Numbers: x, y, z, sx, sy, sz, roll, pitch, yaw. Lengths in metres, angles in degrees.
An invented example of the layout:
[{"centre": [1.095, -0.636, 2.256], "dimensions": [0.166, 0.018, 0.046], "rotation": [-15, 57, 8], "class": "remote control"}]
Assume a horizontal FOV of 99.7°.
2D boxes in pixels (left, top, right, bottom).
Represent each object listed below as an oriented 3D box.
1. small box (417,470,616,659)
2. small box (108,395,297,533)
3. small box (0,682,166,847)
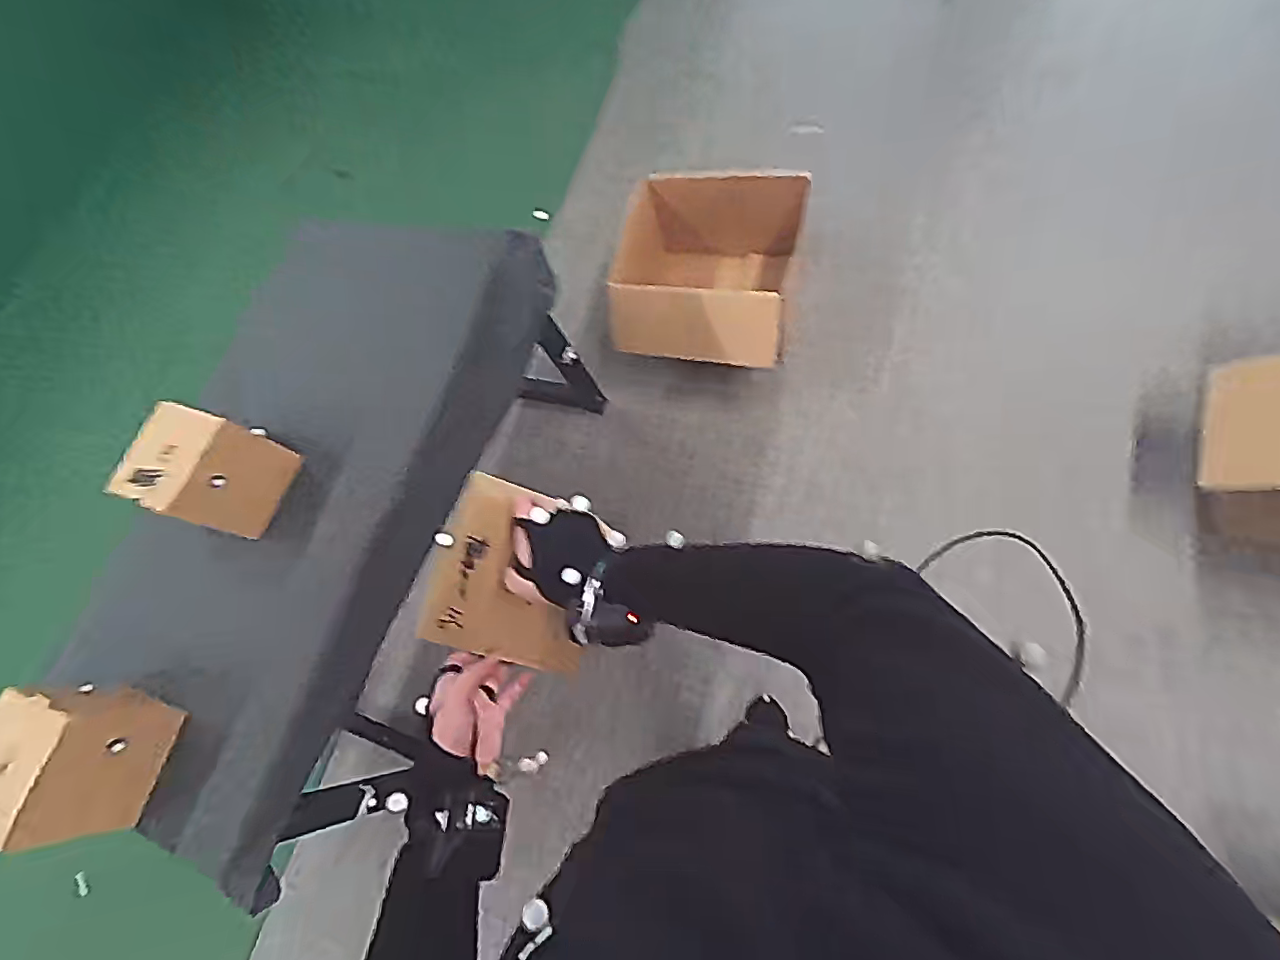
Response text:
[{"centre": [-0.155, 0.095, 0.671], "dimensions": [0.179, 0.176, 0.168], "rotation": [19, 93, -19], "class": "small box"}, {"centre": [-0.769, -0.022, 0.971], "dimensions": [0.168, 0.176, 0.179], "rotation": [19, 76, 19], "class": "small box"}, {"centre": [-0.882, 0.416, 0.820], "dimensions": [0.168, 0.176, 0.179], "rotation": [8, 73, 19], "class": "small box"}]
